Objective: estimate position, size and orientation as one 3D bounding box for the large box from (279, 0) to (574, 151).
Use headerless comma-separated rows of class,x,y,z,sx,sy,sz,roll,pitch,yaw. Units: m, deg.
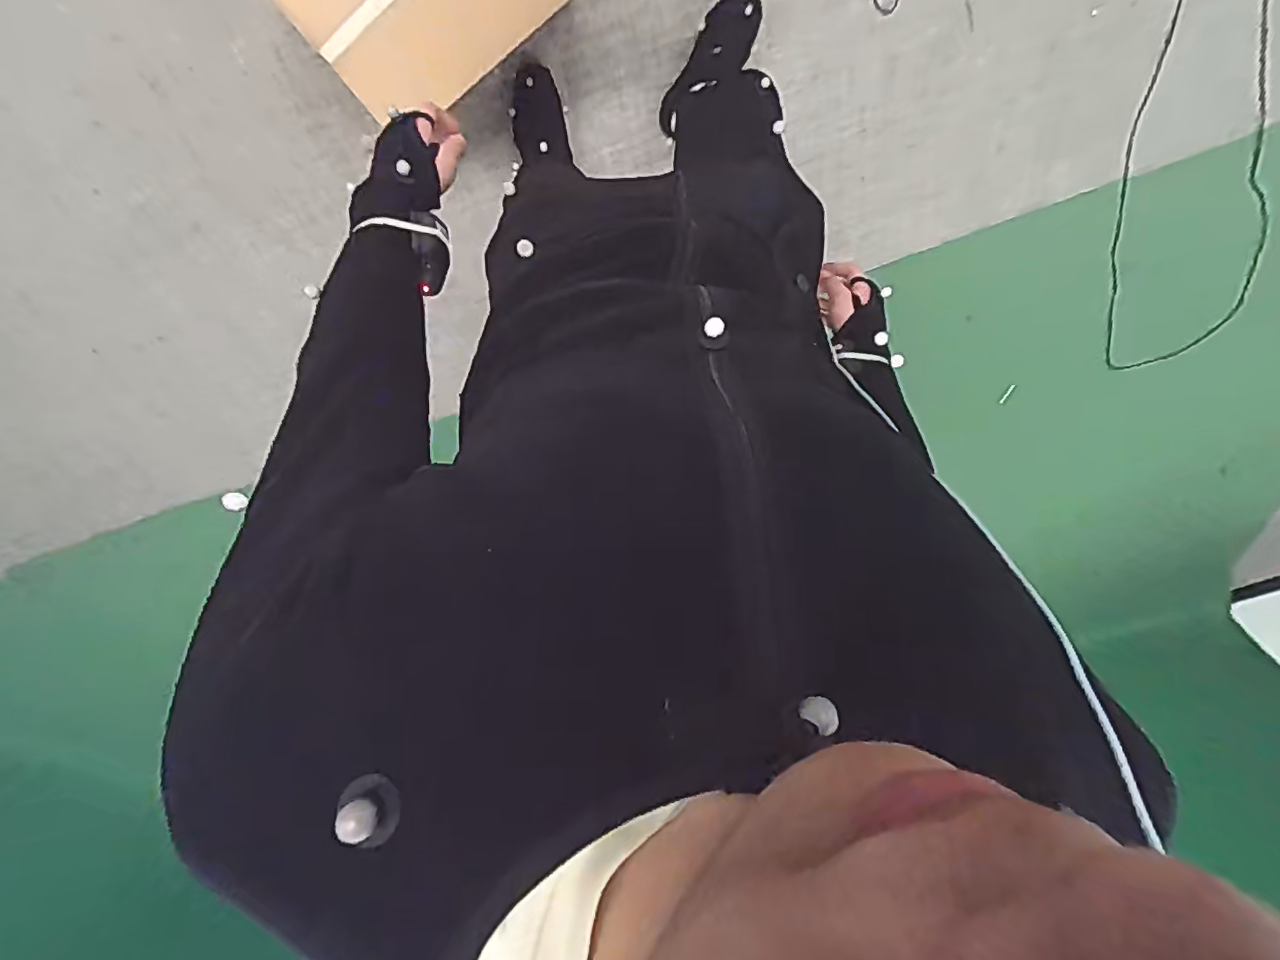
large box,-0.363,-0.883,0.946,0.408,0.320,0.320,-29,130,16
